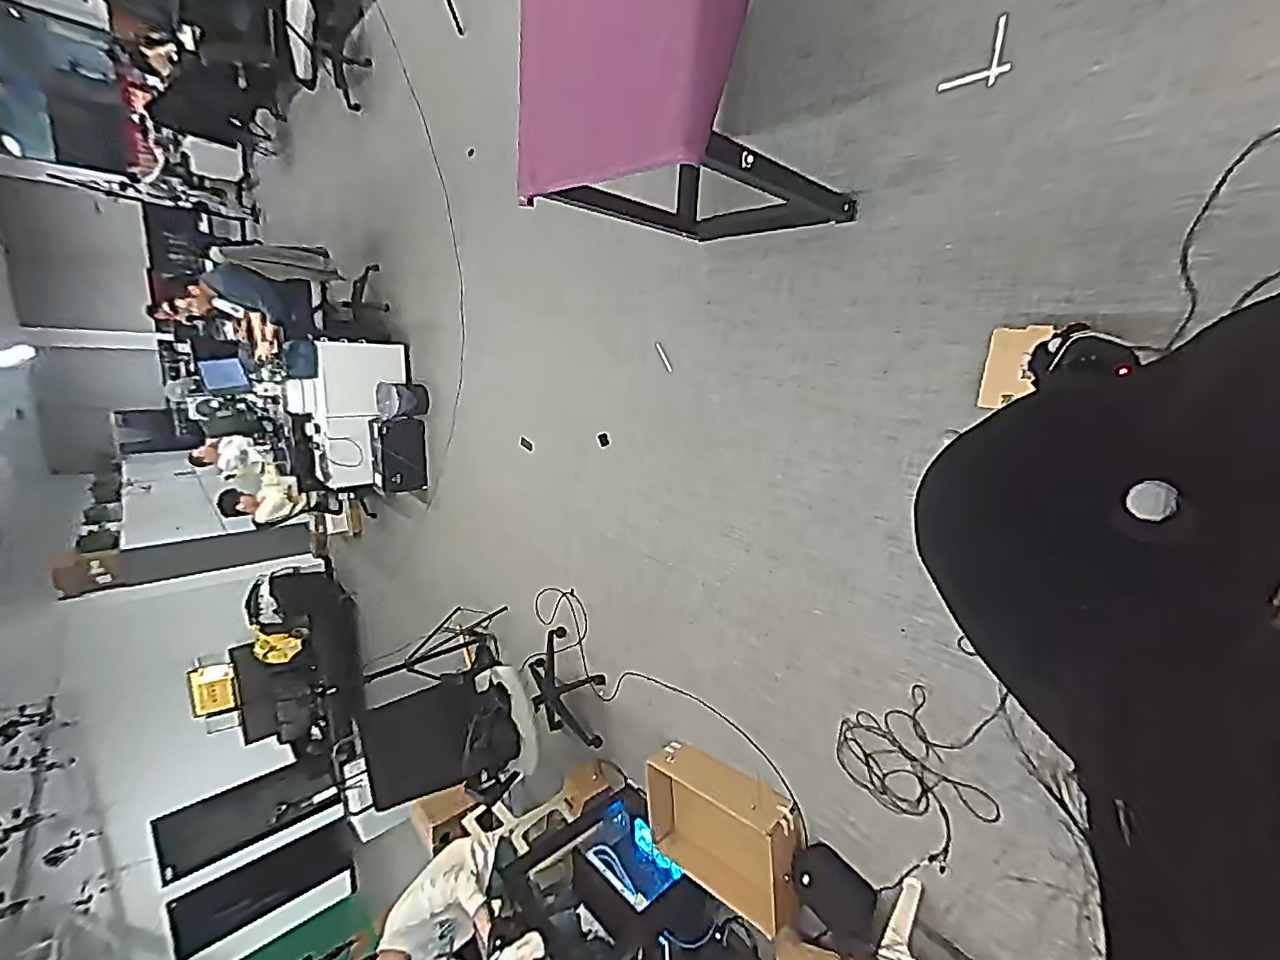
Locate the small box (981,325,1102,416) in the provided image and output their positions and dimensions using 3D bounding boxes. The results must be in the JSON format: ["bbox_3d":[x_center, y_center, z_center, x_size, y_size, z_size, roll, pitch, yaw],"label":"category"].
[{"bbox_3d":[0.876,-0.237,1.177,0.168,0.176,0.179,18,108,45],"label":"small box"}]
